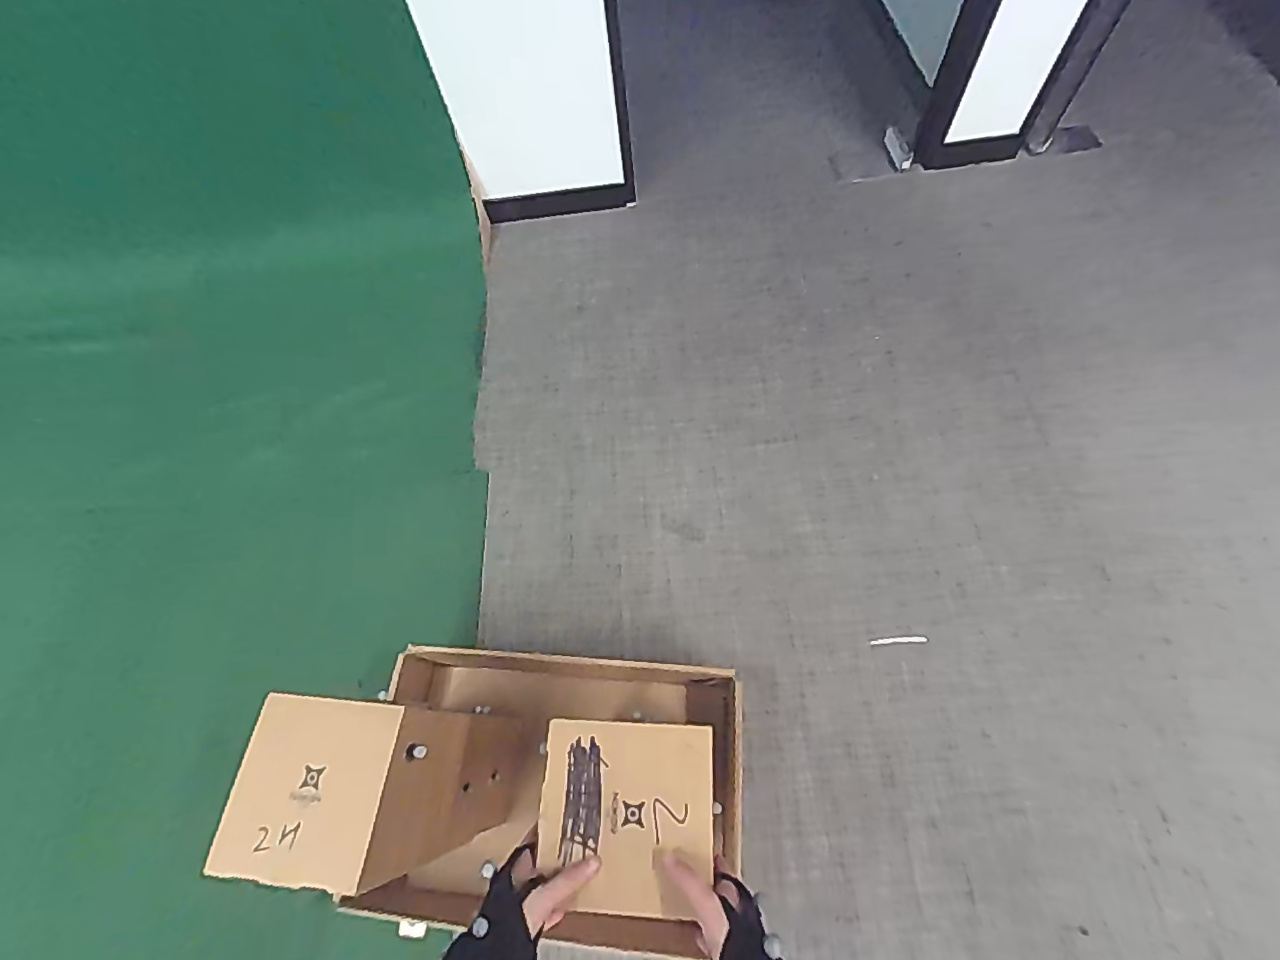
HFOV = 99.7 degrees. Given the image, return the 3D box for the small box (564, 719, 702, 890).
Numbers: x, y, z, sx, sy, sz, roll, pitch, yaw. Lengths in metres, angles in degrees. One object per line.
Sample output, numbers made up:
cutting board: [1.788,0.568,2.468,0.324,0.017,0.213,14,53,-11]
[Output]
small box: [0.000,0.438,0.754,0.168,0.176,0.179,1,65,7]

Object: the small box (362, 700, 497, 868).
small box: [-0.323,0.431,0.789,0.168,0.176,0.179,6,66,7]

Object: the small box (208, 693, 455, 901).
small box: [-0.339,0.360,0.640,0.168,0.176,0.179,4,65,6]
